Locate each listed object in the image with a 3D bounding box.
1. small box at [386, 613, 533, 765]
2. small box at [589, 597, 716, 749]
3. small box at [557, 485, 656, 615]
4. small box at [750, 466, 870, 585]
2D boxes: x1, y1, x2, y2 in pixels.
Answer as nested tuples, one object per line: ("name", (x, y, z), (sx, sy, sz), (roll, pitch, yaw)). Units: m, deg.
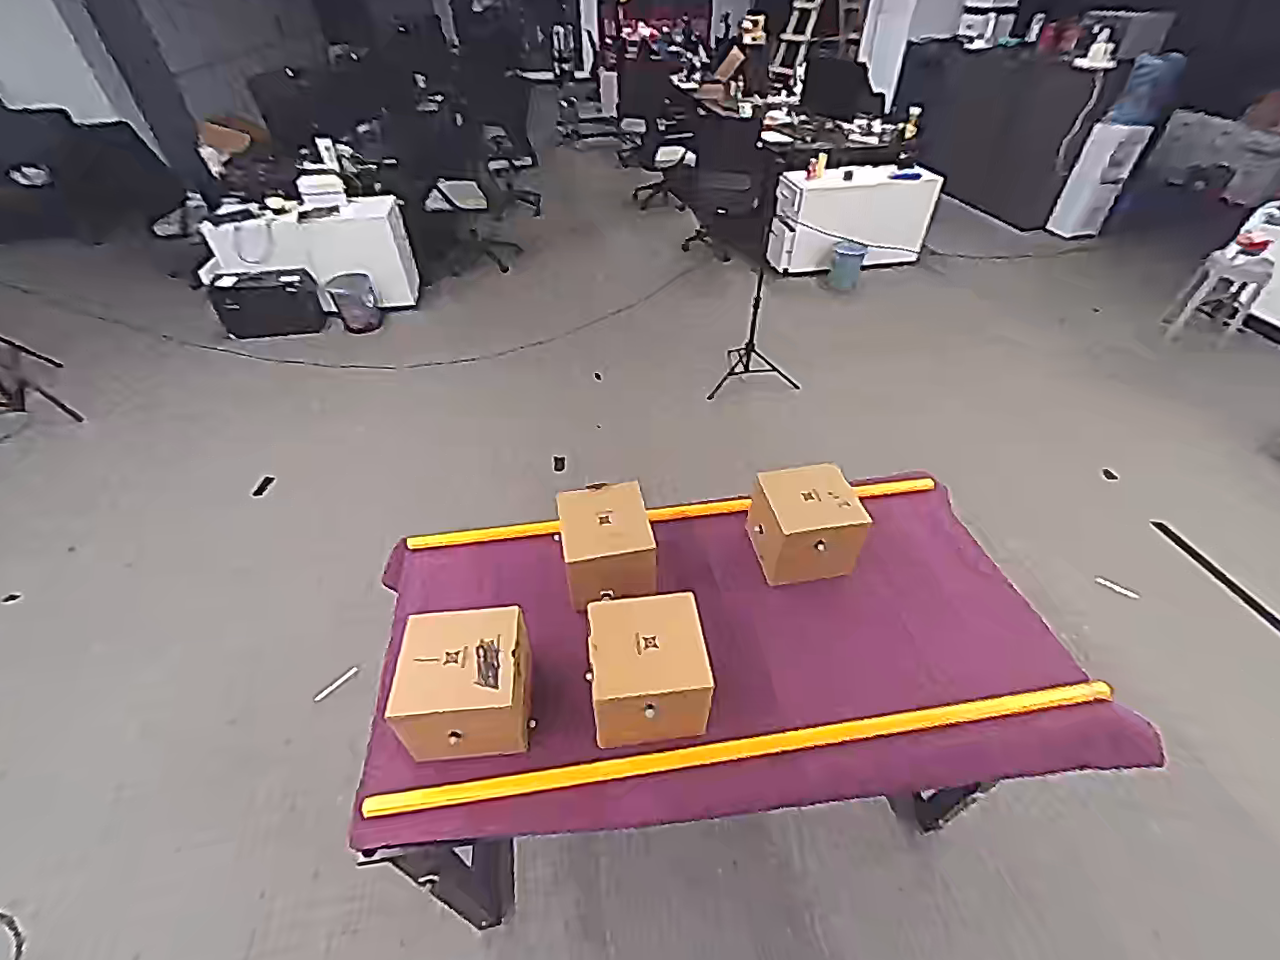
("small box", (-0.268, 0.330, 0.854), (0.179, 0.176, 0.168), (-4, 43, -4))
("small box", (0.014, 0.312, 0.874), (0.179, 0.176, 0.168), (-6, 43, -5))
("small box", (-0.067, 0.136, 1.063), (0.168, 0.176, 0.179), (-9, 45, -8))
("small box", (0.331, 0.096, 1.100), (0.179, 0.176, 0.168), (-7, 45, -7))
